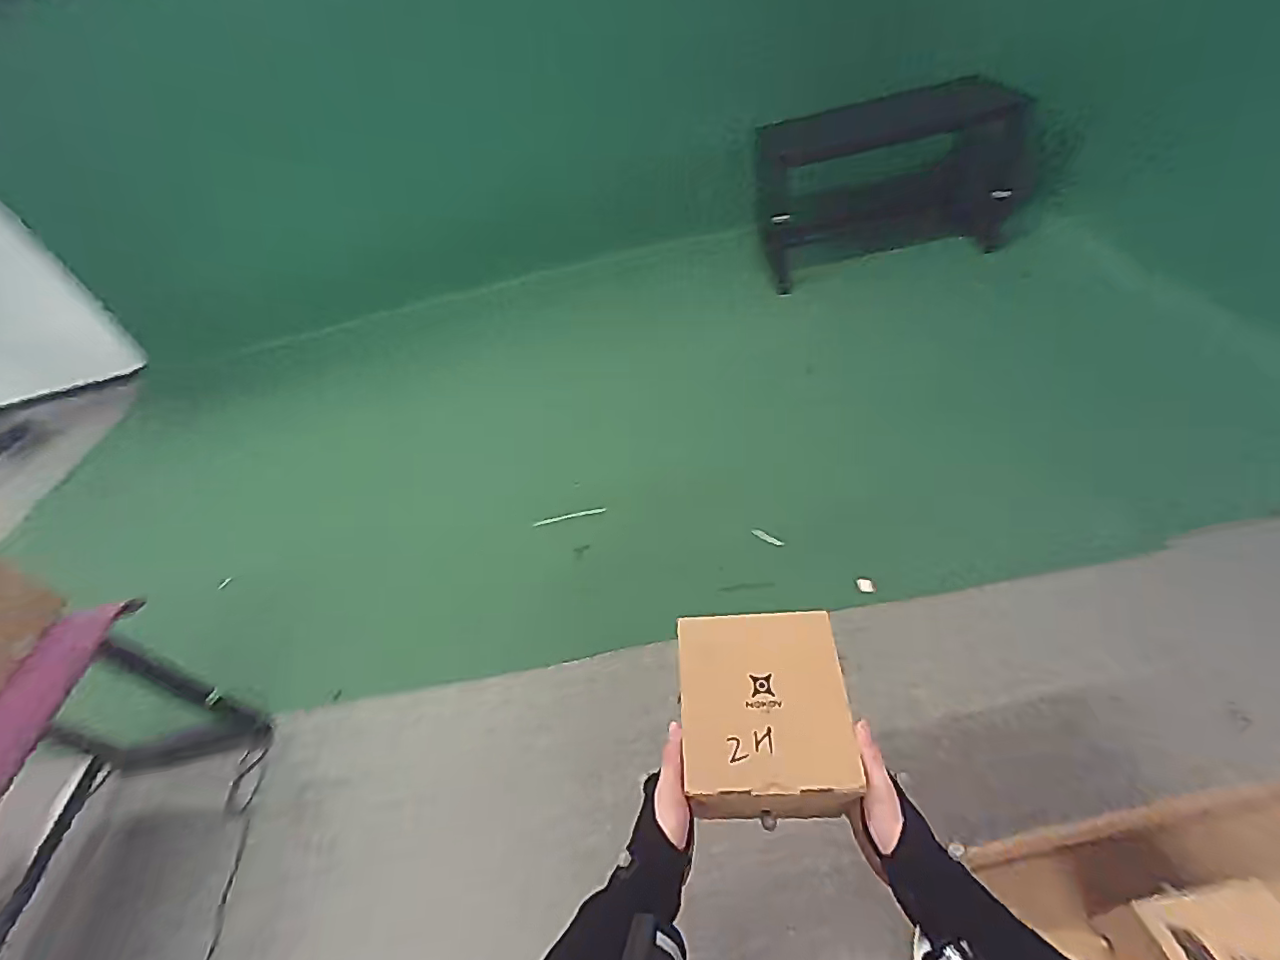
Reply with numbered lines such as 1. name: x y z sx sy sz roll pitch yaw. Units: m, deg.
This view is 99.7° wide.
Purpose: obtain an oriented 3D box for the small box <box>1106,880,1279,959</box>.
1. small box: 0.794 0.676 0.740 0.179 0.176 0.168 -12 44 2

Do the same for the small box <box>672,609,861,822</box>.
1. small box: 0.125 0.264 0.601 0.168 0.176 0.179 -6 51 5

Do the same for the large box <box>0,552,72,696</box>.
1. large box: -1.706 0.349 1.236 0.408 0.320 0.320 -11 46 5
